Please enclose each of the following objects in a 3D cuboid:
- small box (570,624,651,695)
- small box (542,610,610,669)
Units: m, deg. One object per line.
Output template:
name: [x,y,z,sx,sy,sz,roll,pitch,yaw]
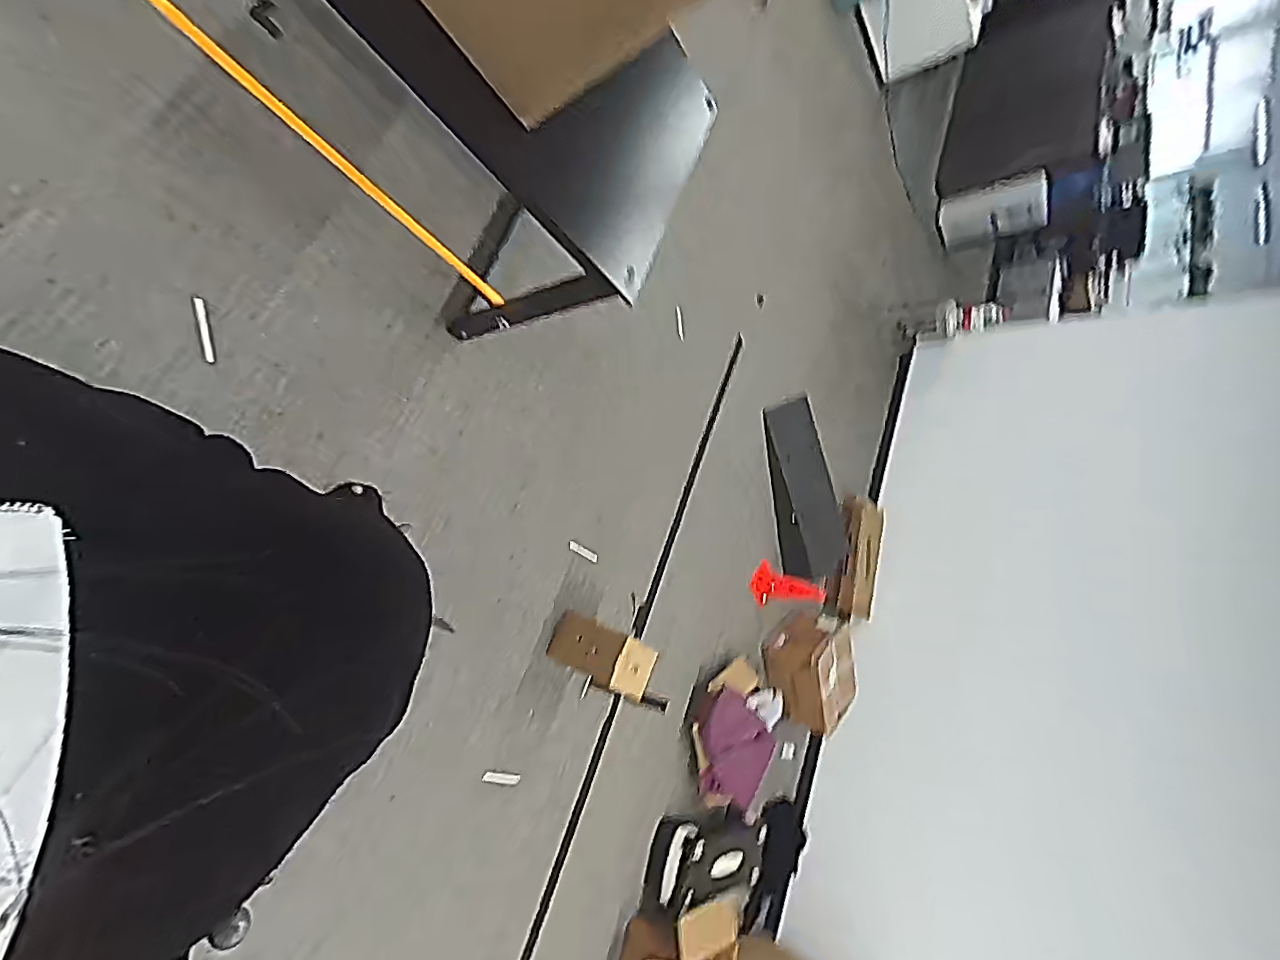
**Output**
small box: [-0.100,0.602,1.827,0.179,0.176,0.168,42,63,-40]
small box: [-0.220,0.586,1.939,0.168,0.176,0.179,42,64,-40]
